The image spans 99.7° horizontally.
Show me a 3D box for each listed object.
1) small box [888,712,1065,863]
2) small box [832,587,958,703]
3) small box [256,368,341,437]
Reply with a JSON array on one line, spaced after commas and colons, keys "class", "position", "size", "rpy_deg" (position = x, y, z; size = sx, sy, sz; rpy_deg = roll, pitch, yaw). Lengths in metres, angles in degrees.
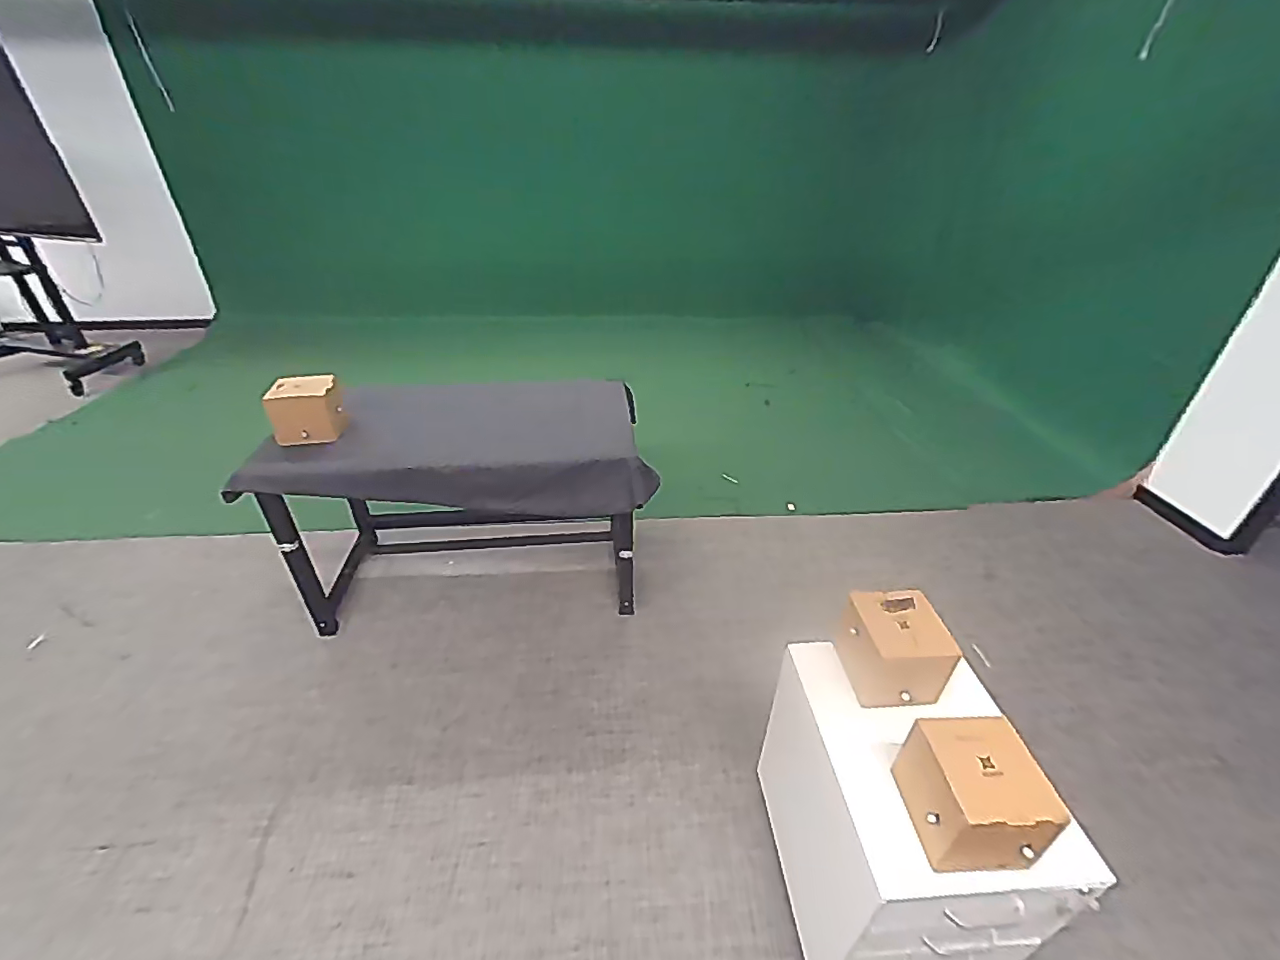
[{"class": "small box", "position": [0.555, 0.526, 0.923], "size": [0.168, 0.176, 0.179], "rpy_deg": [0, 32, -4]}, {"class": "small box", "position": [0.535, 0.355, 1.167], "size": [0.168, 0.176, 0.179], "rpy_deg": [-2, 36, -5]}, {"class": "small box", "position": [-1.095, -0.251, 1.753], "size": [0.179, 0.176, 0.168], "rpy_deg": [-5, 34, -12]}]
